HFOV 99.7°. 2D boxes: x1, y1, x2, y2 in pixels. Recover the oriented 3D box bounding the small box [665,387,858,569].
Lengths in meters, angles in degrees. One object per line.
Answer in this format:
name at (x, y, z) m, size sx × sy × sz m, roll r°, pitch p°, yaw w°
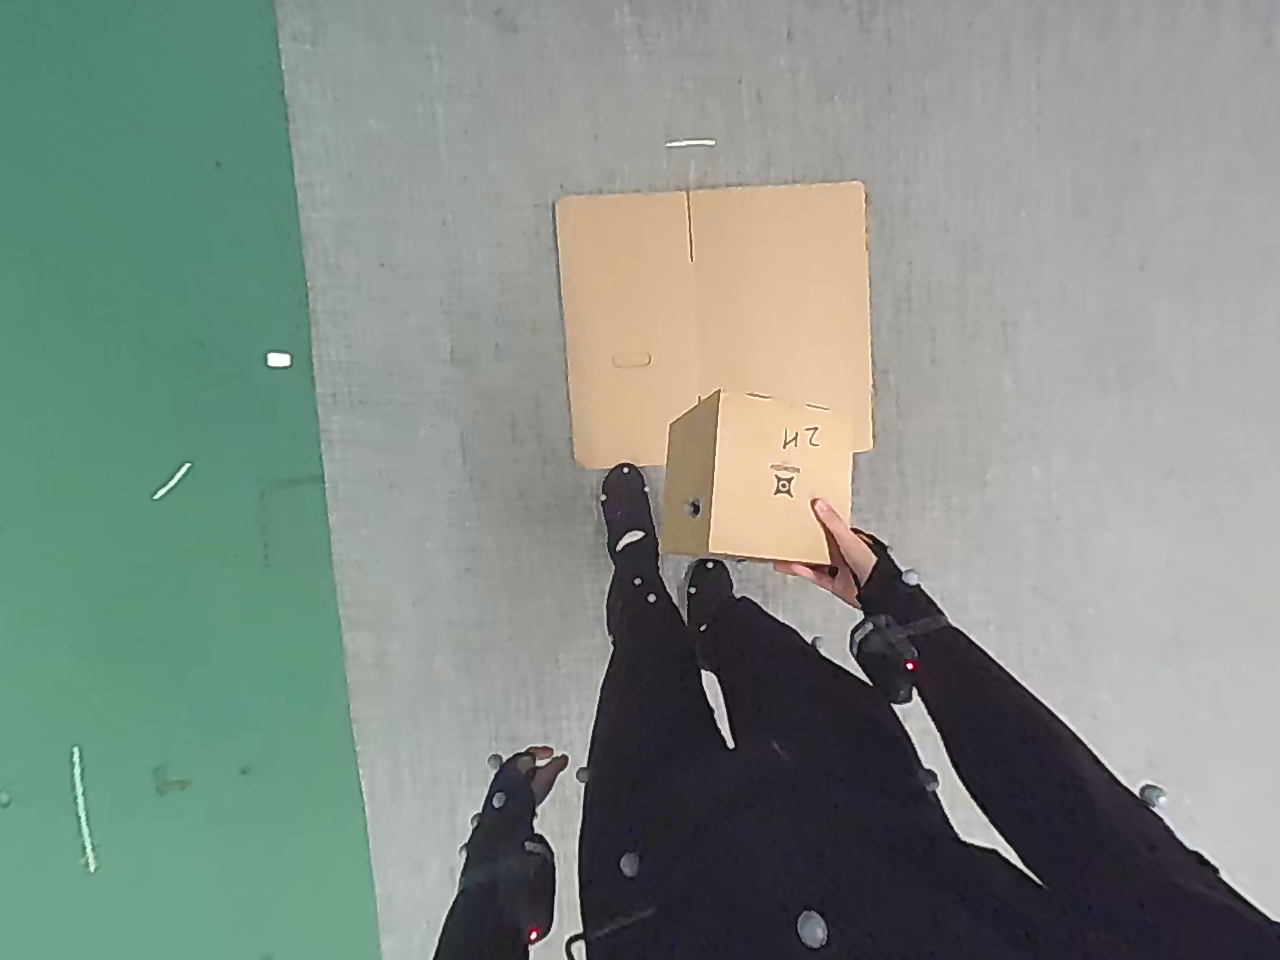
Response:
small box at (0.135, 0.008, 0.648) m, size 0.168 × 0.176 × 0.179 m, roll 8°, pitch 81°, yaw -15°
